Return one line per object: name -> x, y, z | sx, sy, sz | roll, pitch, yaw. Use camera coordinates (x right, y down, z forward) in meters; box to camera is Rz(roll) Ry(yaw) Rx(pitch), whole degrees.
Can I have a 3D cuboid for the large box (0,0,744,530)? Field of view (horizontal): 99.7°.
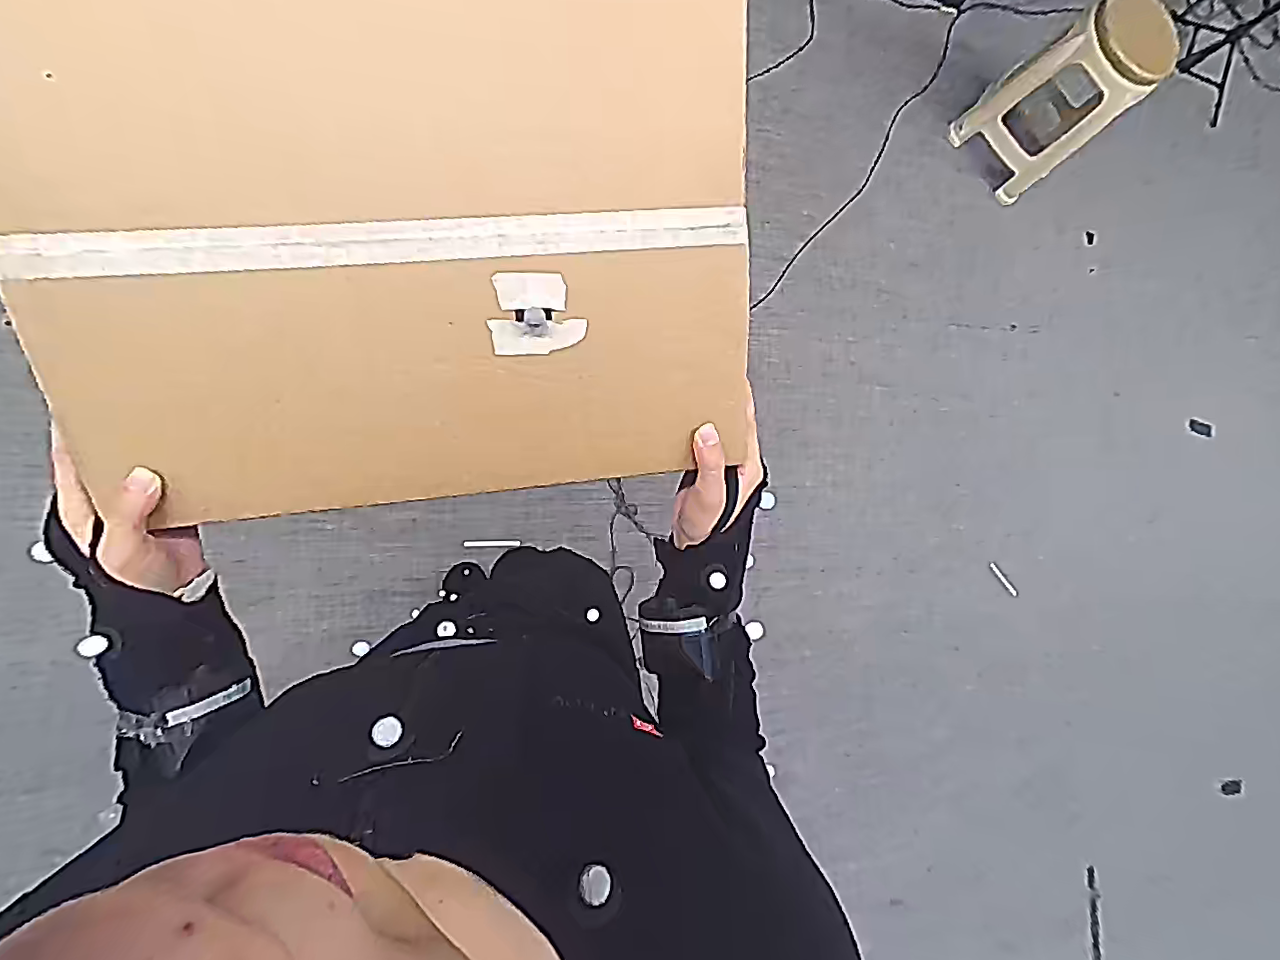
large box -> -0.161, -0.185, 0.453 | 0.408, 0.320, 0.320 | -8, 110, -10
